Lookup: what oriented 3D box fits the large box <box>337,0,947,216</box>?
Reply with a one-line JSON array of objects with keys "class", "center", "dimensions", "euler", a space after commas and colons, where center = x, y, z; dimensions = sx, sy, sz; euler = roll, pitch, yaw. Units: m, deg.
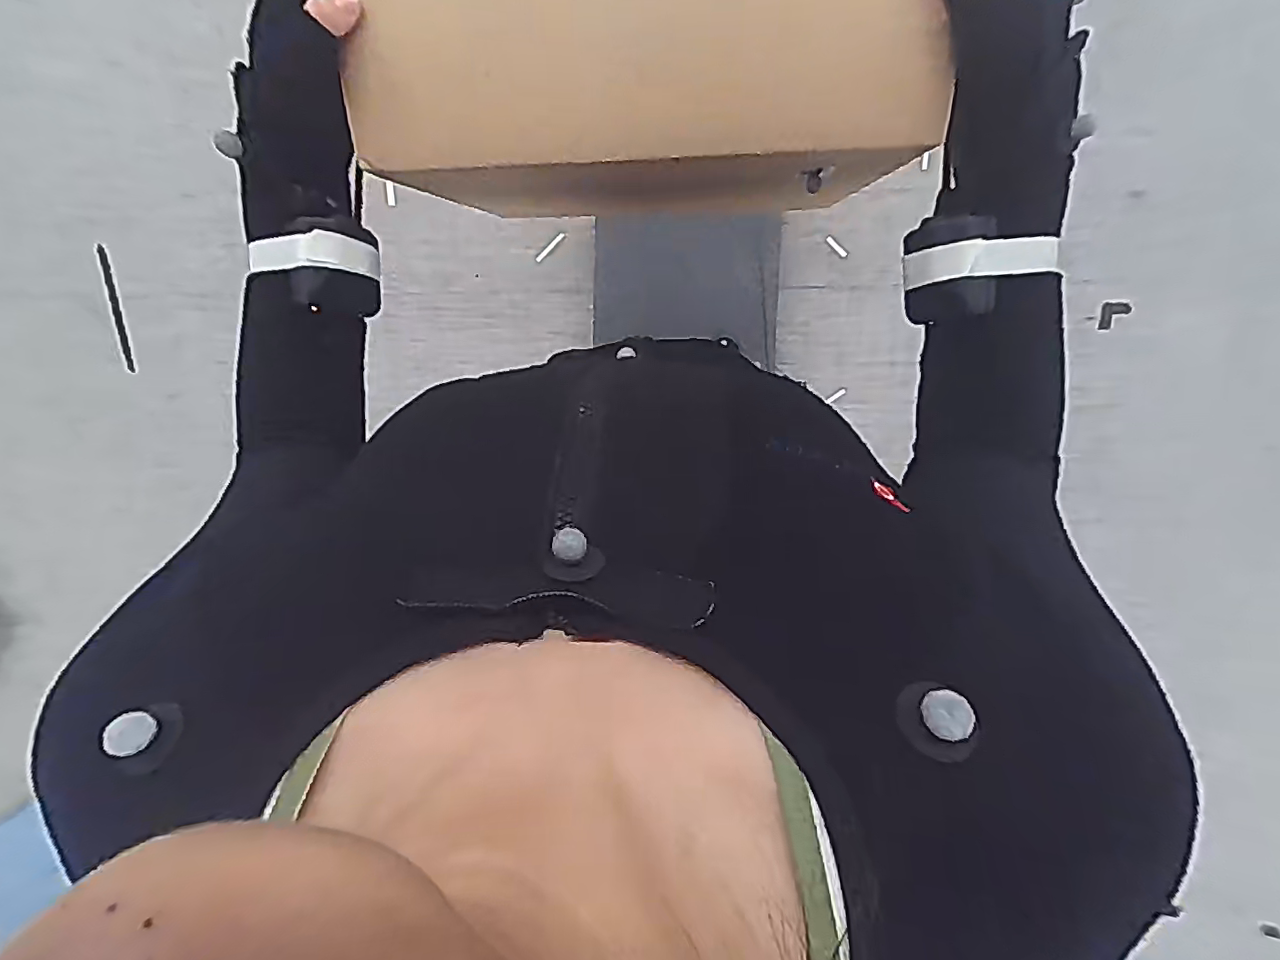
[{"class": "large box", "center": [0.006, -0.420, 0.470], "dimensions": [0.408, 0.320, 0.320], "euler": [0, 110, 4]}]
